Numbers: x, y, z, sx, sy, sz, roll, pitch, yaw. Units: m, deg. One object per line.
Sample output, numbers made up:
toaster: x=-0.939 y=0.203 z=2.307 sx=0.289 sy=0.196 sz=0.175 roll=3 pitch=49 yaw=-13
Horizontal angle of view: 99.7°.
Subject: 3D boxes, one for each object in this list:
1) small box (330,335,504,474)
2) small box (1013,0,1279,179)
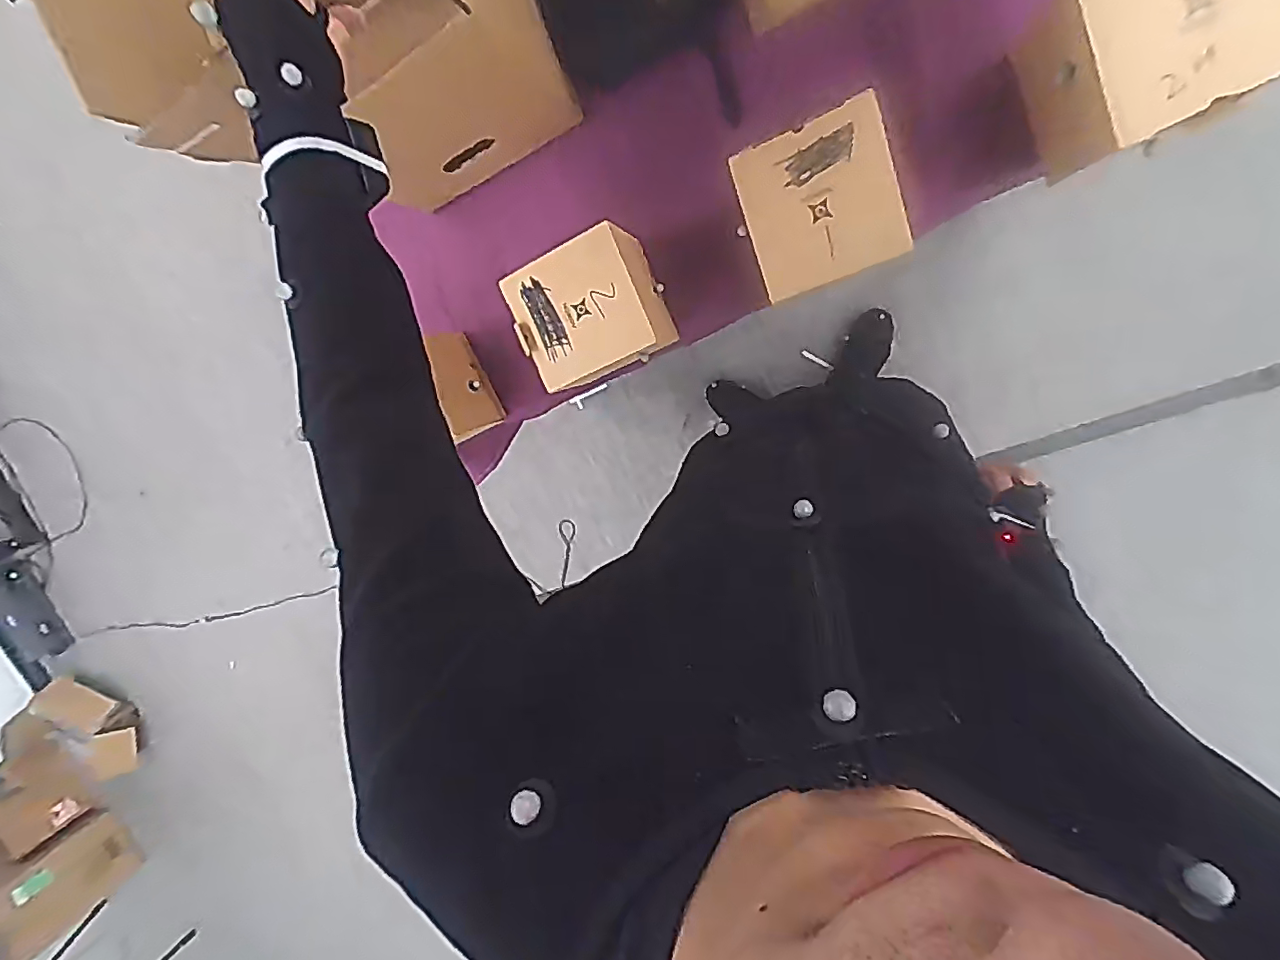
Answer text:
small box: x=-0.365 y=-0.131 z=0.913 sx=0.179 sy=0.176 sz=0.168 roll=-23 pitch=98 yaw=19
small box: x=0.531 y=-0.457 z=0.571 sx=0.168 sy=0.176 sz=0.179 roll=-21 pitch=100 yaw=21
